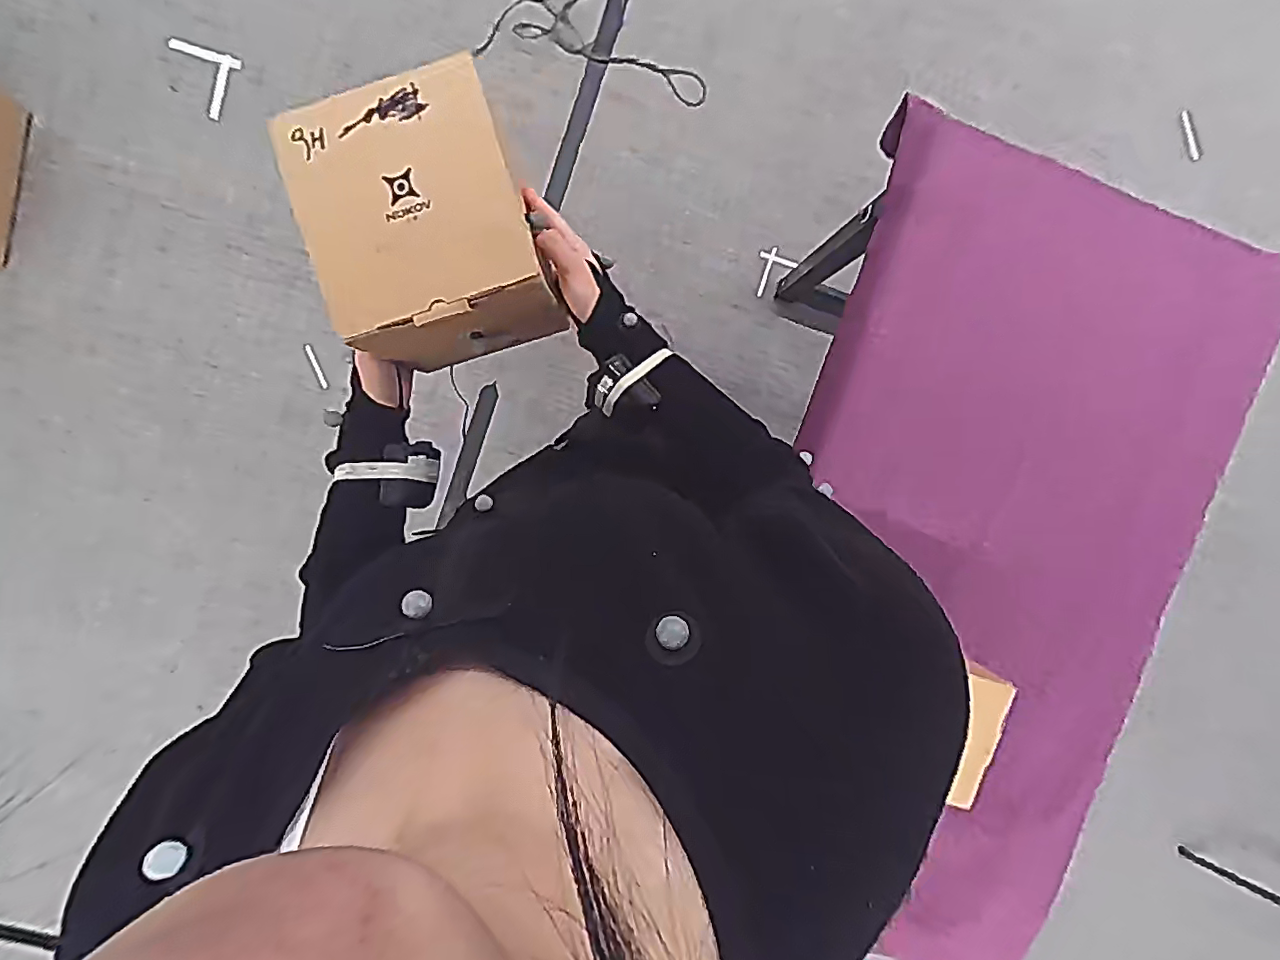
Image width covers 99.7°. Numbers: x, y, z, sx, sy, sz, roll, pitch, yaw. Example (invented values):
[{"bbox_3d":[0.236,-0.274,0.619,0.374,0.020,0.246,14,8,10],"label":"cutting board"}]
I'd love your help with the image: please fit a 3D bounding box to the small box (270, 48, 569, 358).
[{"bbox_3d":[-0.172,-0.218,0.484,0.168,0.176,0.179,-18,94,1],"label":"small box"}]
